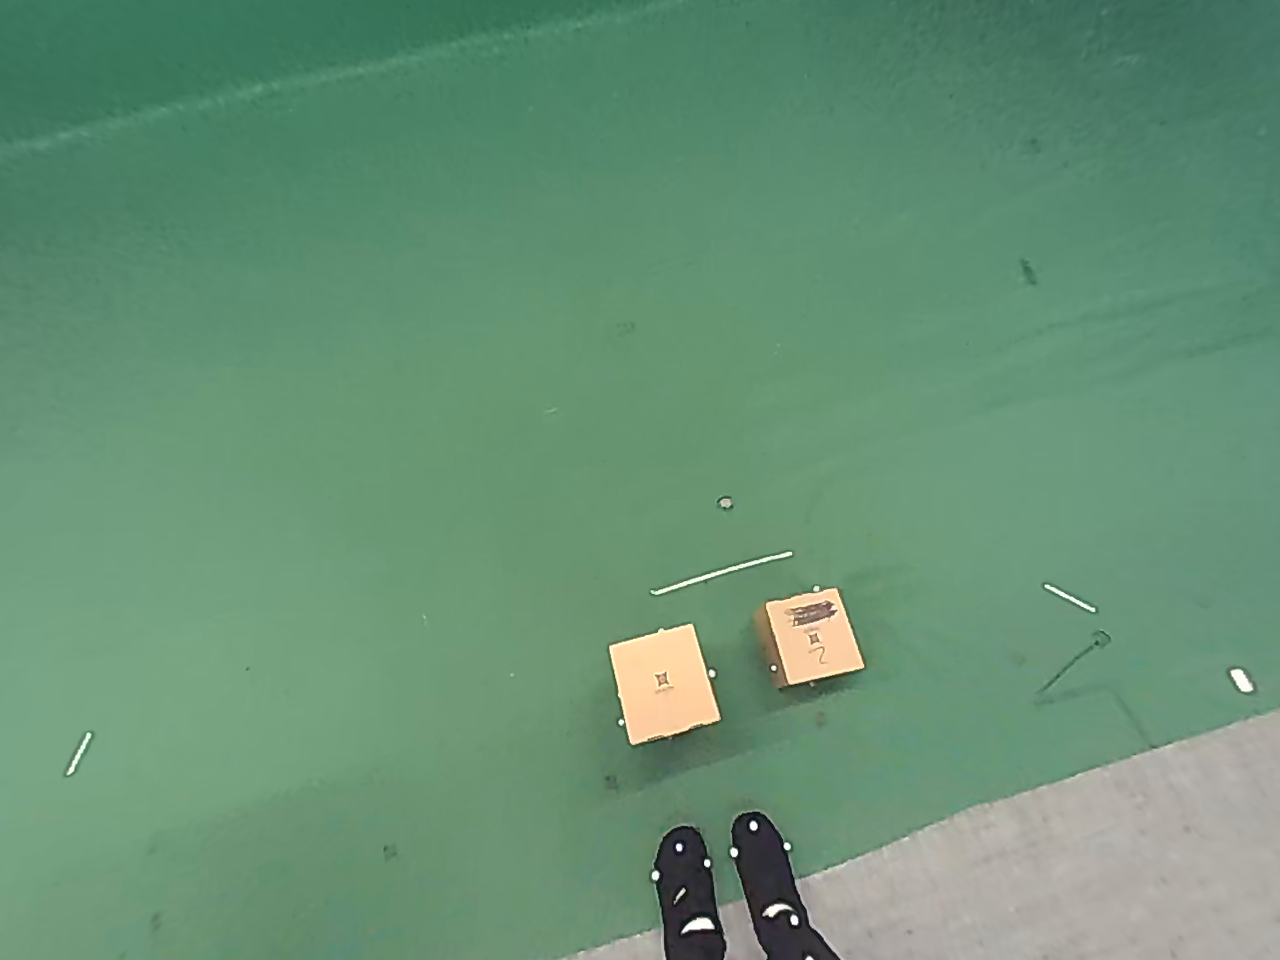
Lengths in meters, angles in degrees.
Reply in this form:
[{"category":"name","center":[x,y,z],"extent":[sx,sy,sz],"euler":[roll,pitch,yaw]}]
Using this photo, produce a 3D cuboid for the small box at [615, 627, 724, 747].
[{"category":"small box","center":[0.054,0.404,1.053],"extent":[0.168,0.176,0.179],"euler":[-15,67,-3]}]
